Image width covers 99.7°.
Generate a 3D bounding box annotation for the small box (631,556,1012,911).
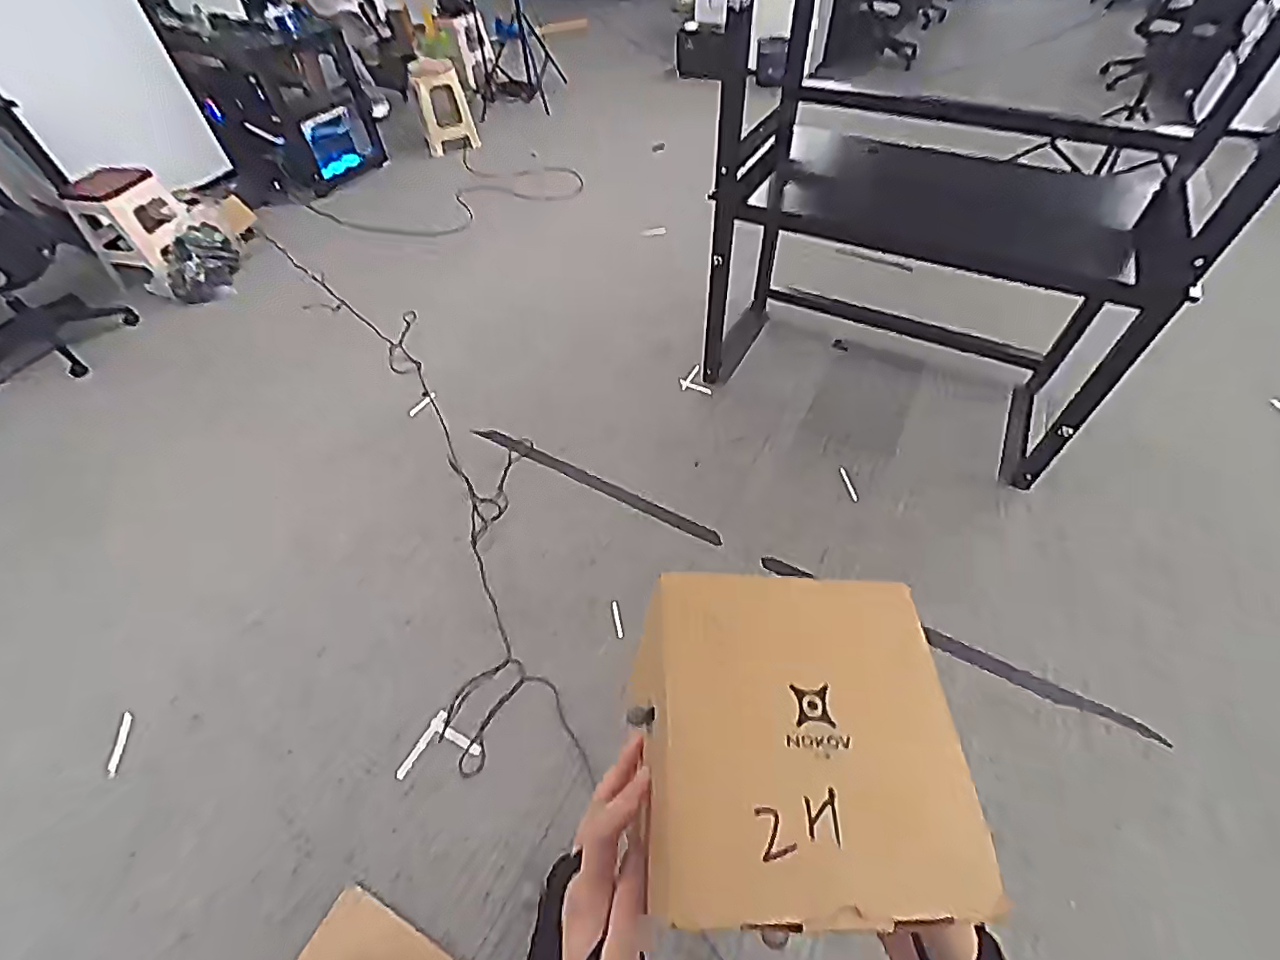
[{"bbox_3d":[0.084,0.169,0.357,0.168,0.176,0.179,4,55,-6],"label":"small box"}]
